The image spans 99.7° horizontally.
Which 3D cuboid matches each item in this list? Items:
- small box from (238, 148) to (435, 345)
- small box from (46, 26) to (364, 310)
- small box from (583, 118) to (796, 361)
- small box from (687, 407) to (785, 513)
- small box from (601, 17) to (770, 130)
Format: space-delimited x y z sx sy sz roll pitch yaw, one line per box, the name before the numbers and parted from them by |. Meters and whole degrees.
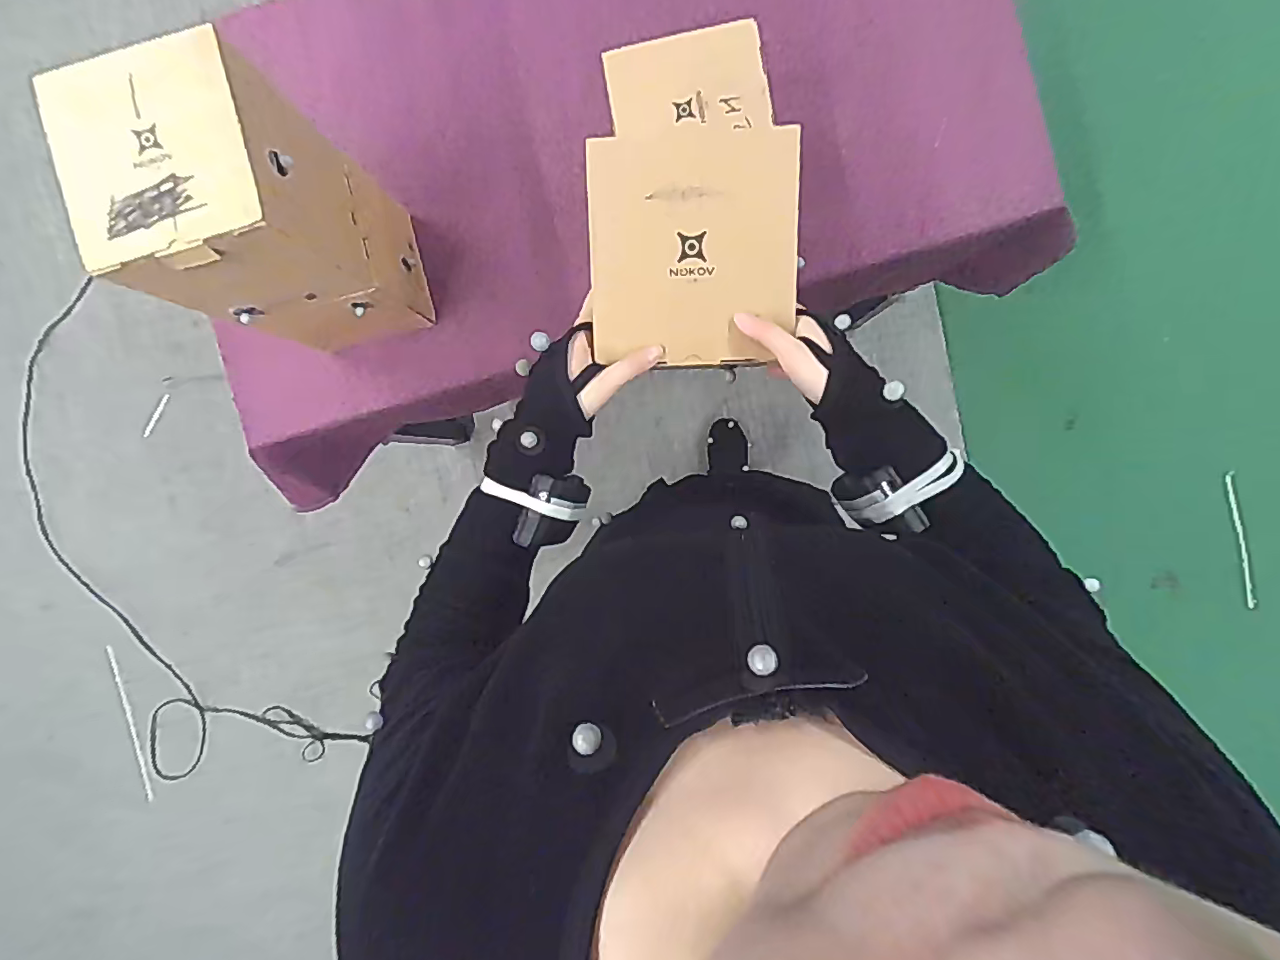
small box | -0.401 -0.289 0.711 0.179 0.176 0.168 -14 91 3
small box | -0.413 -0.287 0.546 0.168 0.176 0.179 -15 90 3
small box | 0.046 -0.202 0.507 0.168 0.176 0.179 0 101 5
small box | 0.240 -0.051 1.398 0.179 0.176 0.168 -35 60 -29
small box | 0.059 -0.414 0.677 0.179 0.176 0.168 -9 92 4
